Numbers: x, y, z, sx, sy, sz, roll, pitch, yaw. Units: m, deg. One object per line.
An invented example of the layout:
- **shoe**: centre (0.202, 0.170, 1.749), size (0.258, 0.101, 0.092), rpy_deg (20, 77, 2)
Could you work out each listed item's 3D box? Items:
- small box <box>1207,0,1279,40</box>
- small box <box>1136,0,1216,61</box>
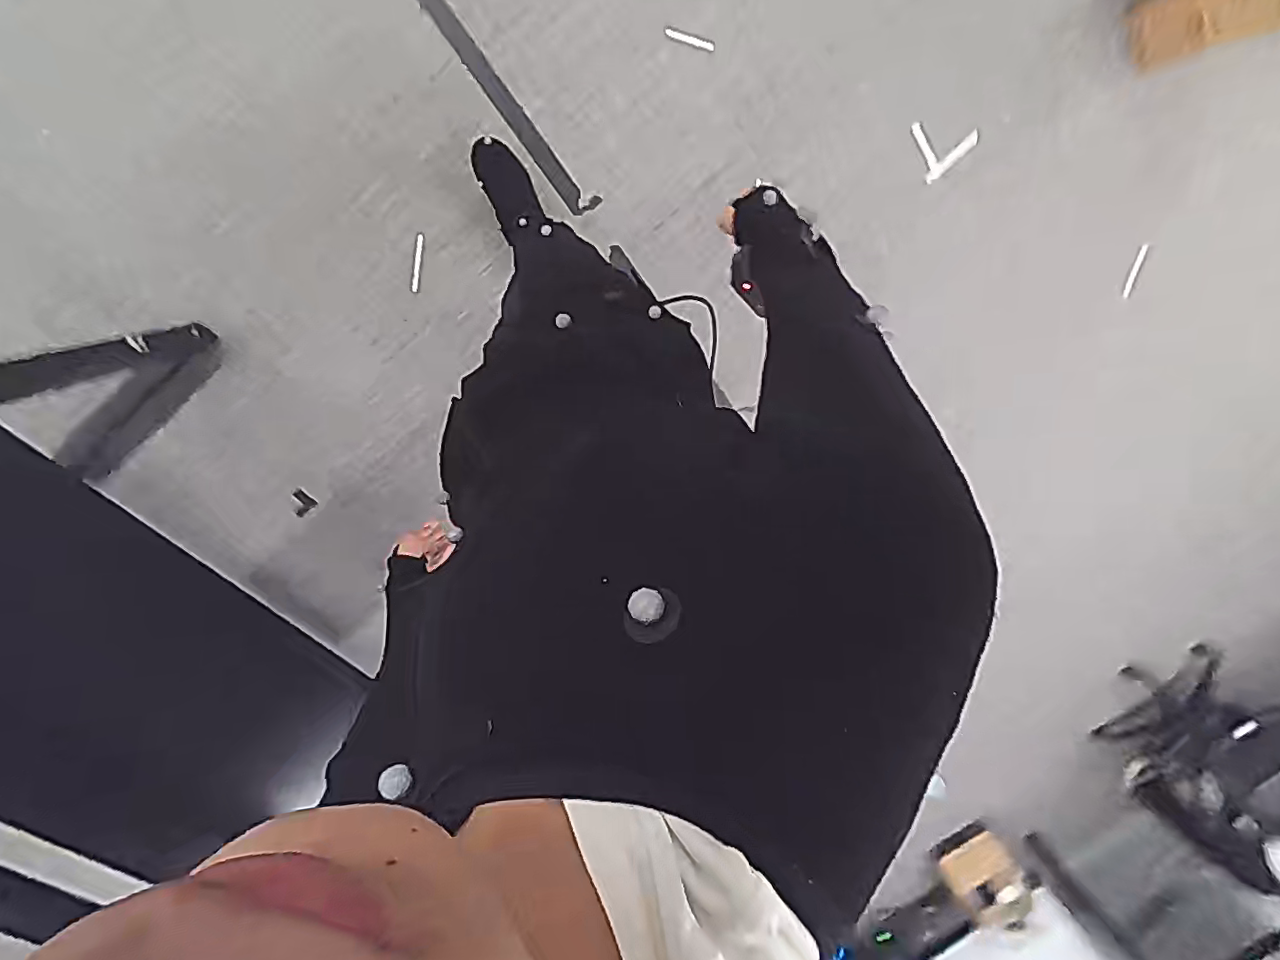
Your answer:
- **small box**: centre (1.464, -1.172, 1.241), size (0.179, 0.176, 0.168), rpy_deg (-42, 113, 6)
- **small box**: centre (1.431, -1.234, 1.387), size (0.179, 0.176, 0.168), rpy_deg (-43, 113, 6)
